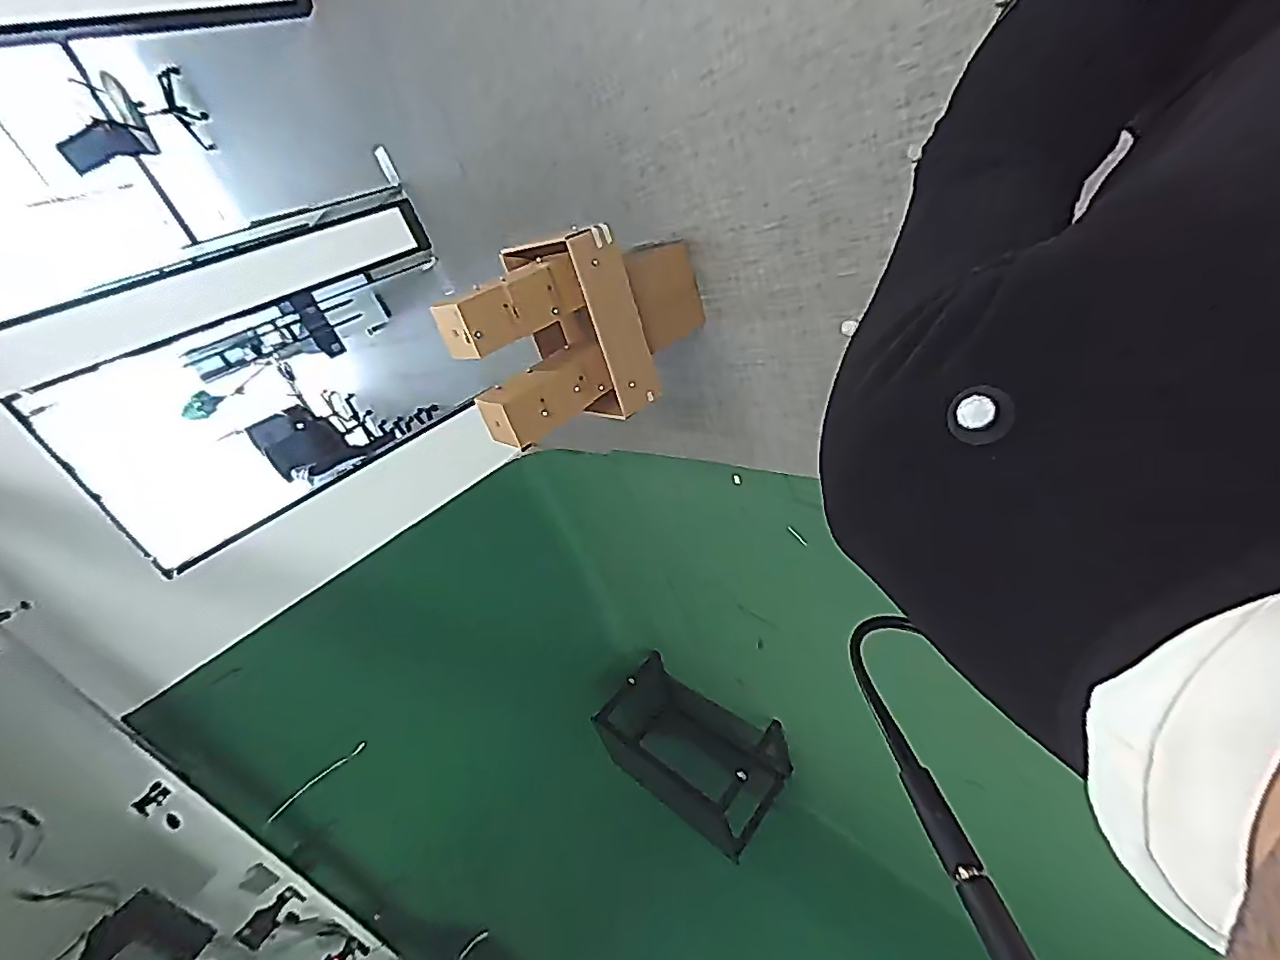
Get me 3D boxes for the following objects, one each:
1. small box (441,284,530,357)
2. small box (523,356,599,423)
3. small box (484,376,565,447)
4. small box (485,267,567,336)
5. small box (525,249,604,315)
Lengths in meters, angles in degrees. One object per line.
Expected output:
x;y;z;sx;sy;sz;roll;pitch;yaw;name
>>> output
-0.468;-0.486;1.651;0.179;0.176;0.168;14;133;45;small box
-0.272;-0.321;1.884;0.179;0.176;0.168;18;136;43;small box
-0.381;-0.234;1.800;0.179;0.176;0.168;17;136;44;small box
-0.355;-0.572;1.732;0.179;0.176;0.168;17;134;43;small box
-0.250;-0.664;1.821;0.179;0.176;0.168;15;133;44;small box
